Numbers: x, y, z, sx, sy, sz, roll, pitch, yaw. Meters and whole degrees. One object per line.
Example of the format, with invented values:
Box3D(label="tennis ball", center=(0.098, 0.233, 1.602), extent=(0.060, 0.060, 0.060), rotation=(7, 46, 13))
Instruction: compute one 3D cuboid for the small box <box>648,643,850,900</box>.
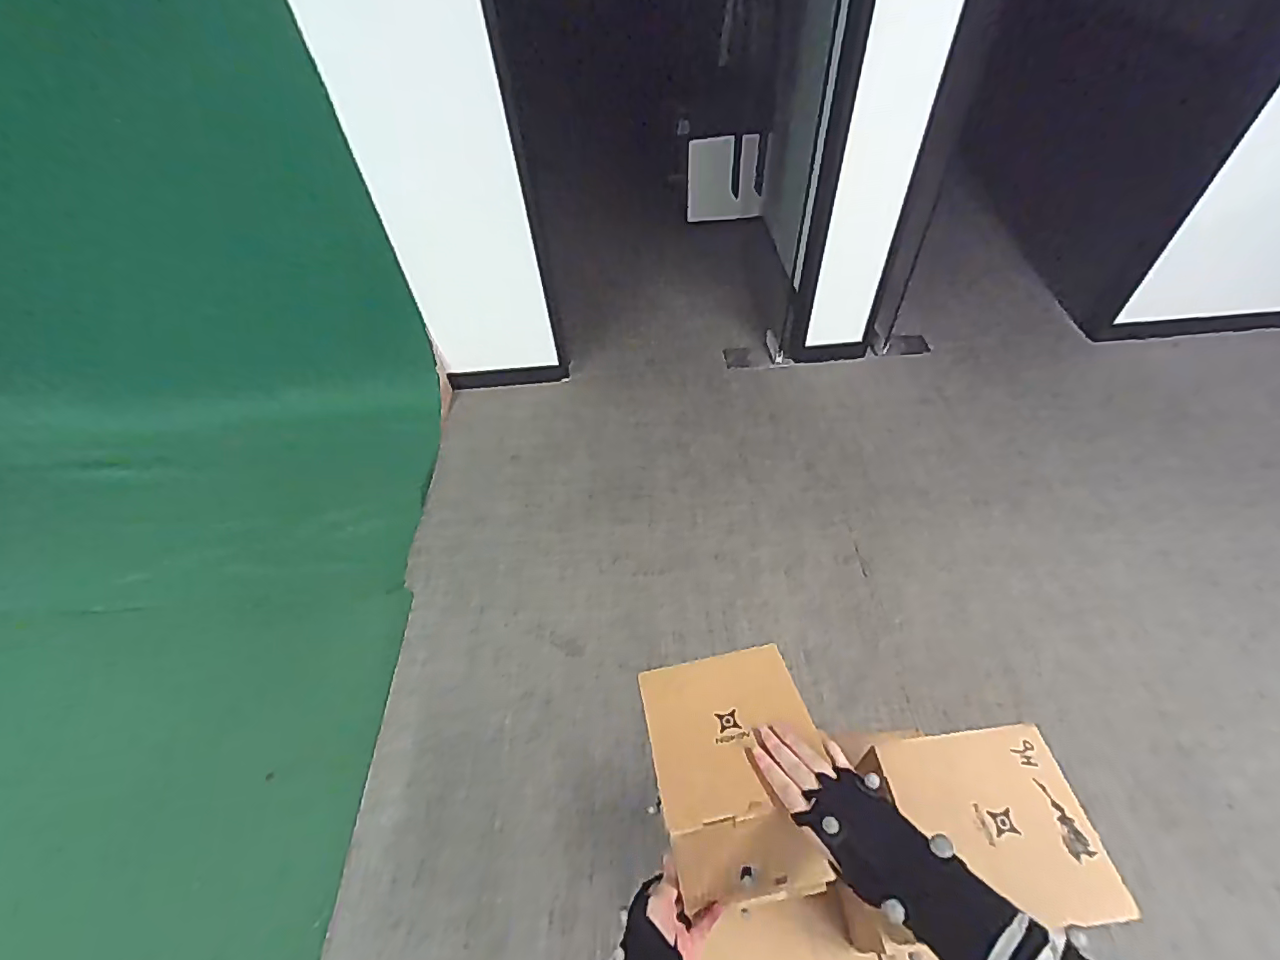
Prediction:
Box3D(label="small box", center=(0.109, 0.317, 0.601), extent=(0.168, 0.176, 0.179), rotation=(-11, 32, -4))
